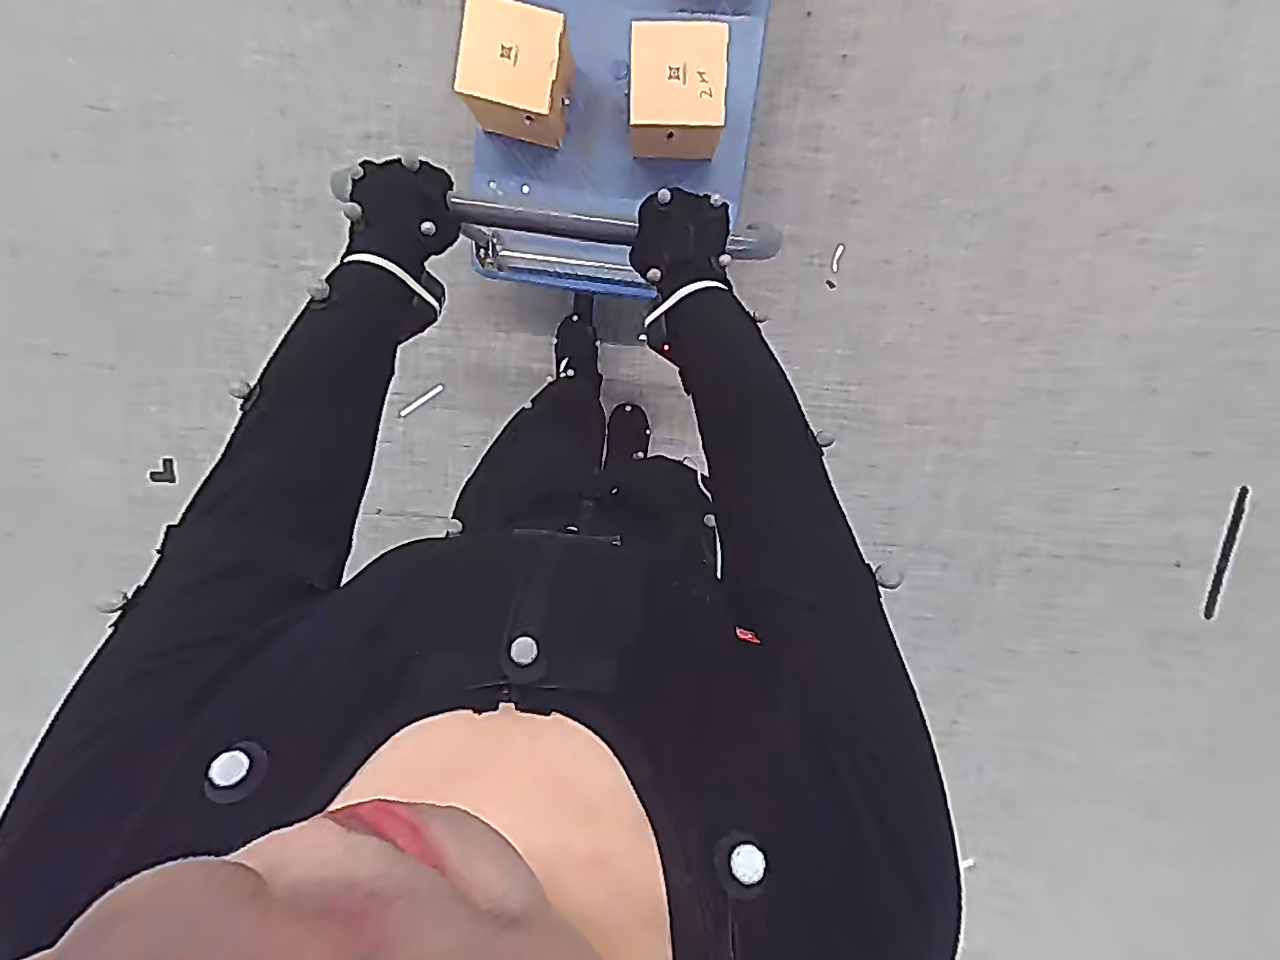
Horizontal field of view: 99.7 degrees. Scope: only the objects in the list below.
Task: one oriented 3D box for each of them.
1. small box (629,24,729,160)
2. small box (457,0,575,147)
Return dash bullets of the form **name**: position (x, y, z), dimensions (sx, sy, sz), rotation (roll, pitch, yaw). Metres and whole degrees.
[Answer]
- **small box**: position (0.072, -0.745, 1.056), dimensions (0.179, 0.176, 0.168), rotation (2, 103, 0)
- **small box**: position (-0.232, -0.780, 1.049), dimensions (0.179, 0.176, 0.168), rotation (12, 103, -4)
